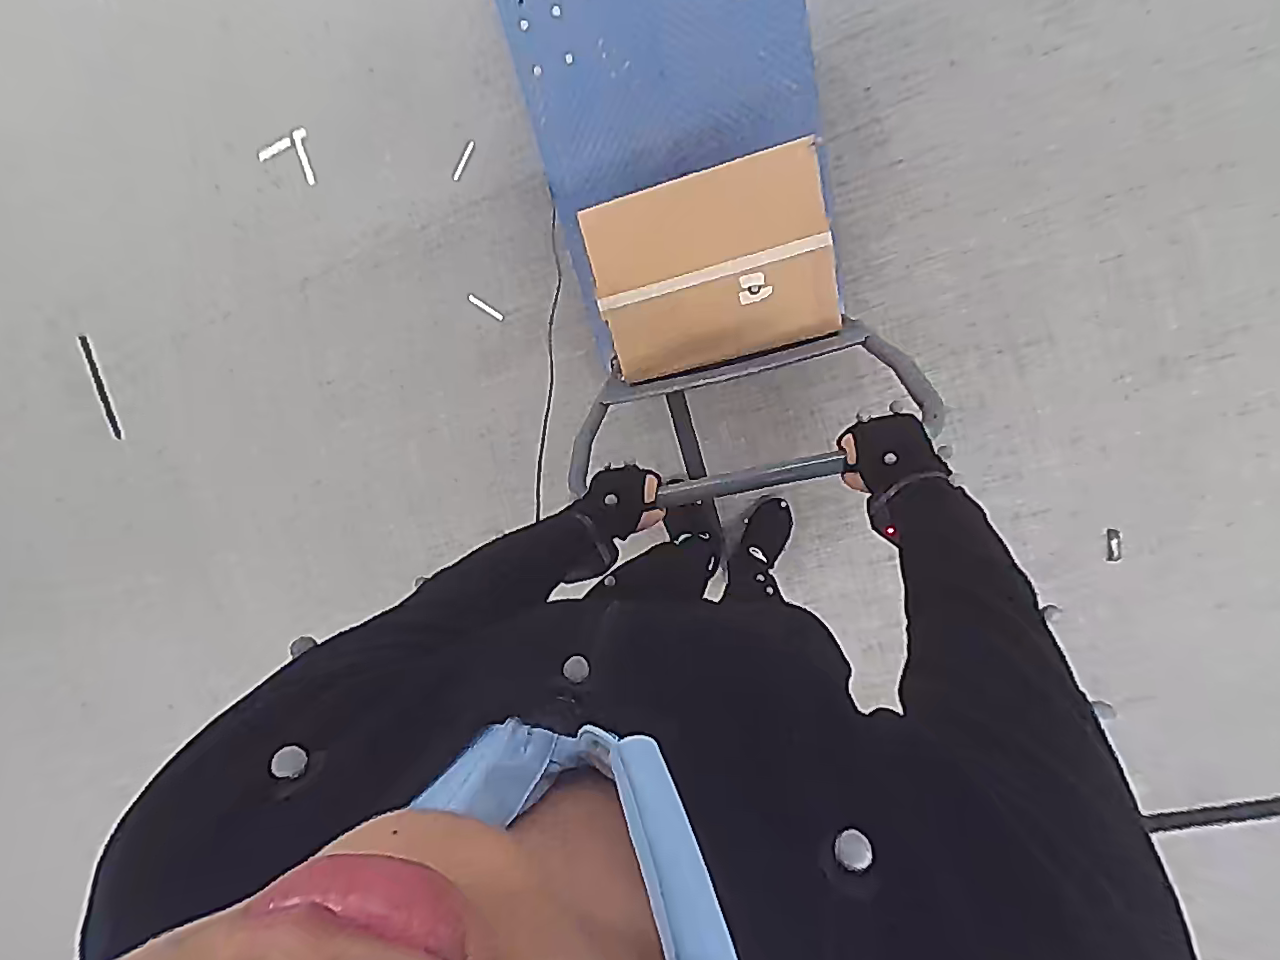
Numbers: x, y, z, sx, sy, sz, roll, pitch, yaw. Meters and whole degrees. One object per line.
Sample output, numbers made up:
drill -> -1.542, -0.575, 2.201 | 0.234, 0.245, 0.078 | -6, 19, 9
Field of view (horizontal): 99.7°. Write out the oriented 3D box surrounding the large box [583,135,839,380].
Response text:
large box -> 0.141, -0.427, 1.095 | 0.408, 0.320, 0.320 | -13, 110, 11
